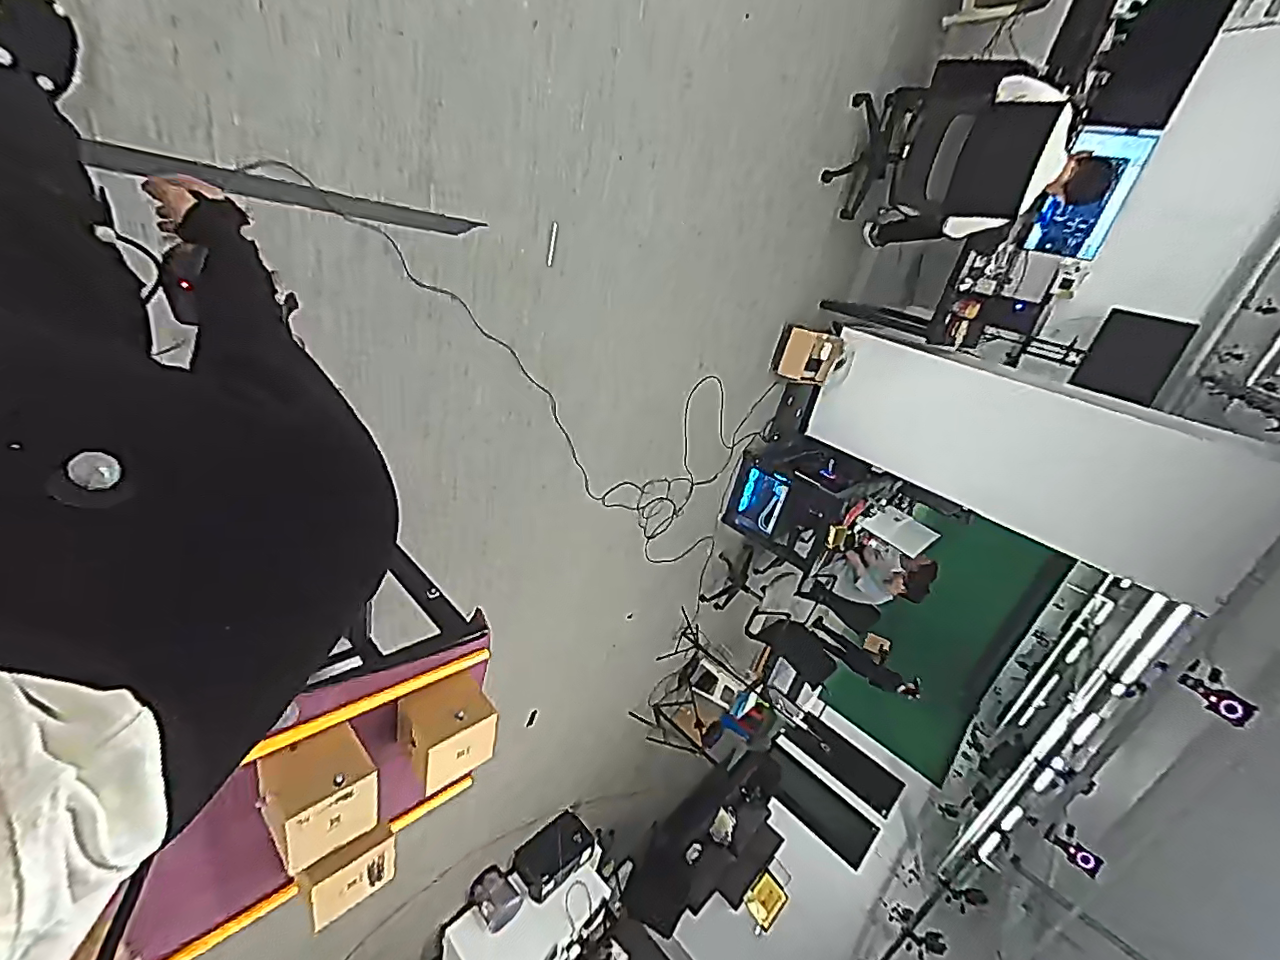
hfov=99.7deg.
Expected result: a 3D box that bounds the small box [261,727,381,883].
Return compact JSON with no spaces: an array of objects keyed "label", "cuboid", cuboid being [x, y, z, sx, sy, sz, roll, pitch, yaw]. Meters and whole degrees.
[{"label":"small box","cuboid":[-0.649,0.650,1.100,0.168,0.176,0.179,-15,127,-46]}]

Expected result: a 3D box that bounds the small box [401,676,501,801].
[{"label":"small box","cuboid":[-0.462,0.615,1.307,0.179,0.176,0.168,-15,127,-44]}]

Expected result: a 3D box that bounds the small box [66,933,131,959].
[{"label":"small box","cuboid":[-0.975,0.944,0.918,0.179,0.176,0.168,-18,128,-45]}]
